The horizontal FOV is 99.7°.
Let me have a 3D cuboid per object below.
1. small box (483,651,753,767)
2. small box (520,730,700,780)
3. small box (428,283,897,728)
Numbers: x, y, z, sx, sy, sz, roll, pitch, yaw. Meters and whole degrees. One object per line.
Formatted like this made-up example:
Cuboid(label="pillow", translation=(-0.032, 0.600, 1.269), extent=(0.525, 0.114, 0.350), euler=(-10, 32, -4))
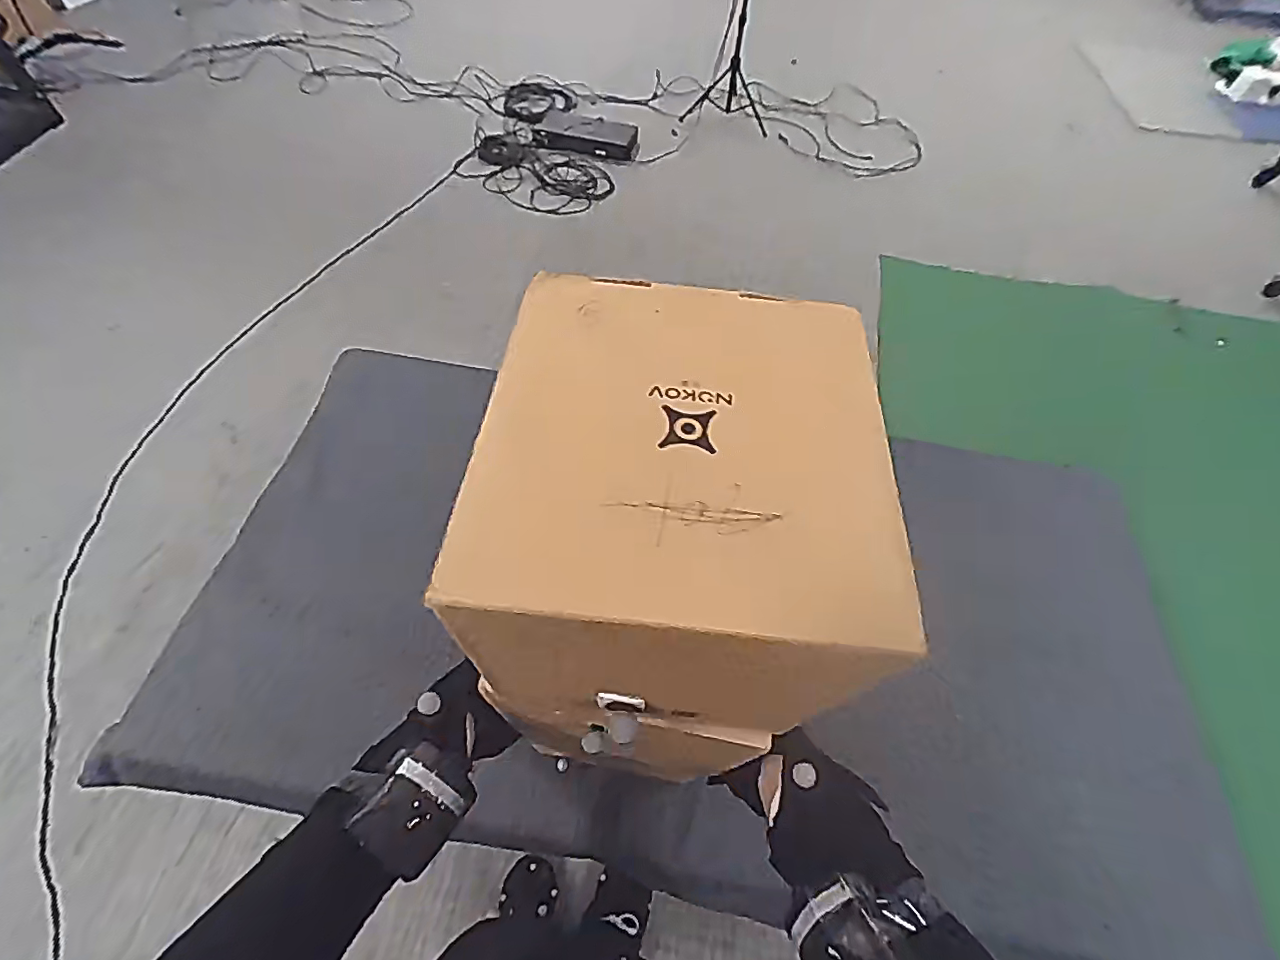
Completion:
Cuboid(label="small box", translation=(-0.004, 0.117, 0.431), extent=(0.179, 0.176, 0.168), euler=(8, 54, 1))
Cuboid(label="small box", translation=(-0.012, 0.201, 0.569), extent=(0.168, 0.176, 0.179), euler=(9, 55, 3))
Cuboid(label="small box", translation=(0.010, 0.022, 0.297), extent=(0.168, 0.176, 0.179), euler=(5, 56, 1))
